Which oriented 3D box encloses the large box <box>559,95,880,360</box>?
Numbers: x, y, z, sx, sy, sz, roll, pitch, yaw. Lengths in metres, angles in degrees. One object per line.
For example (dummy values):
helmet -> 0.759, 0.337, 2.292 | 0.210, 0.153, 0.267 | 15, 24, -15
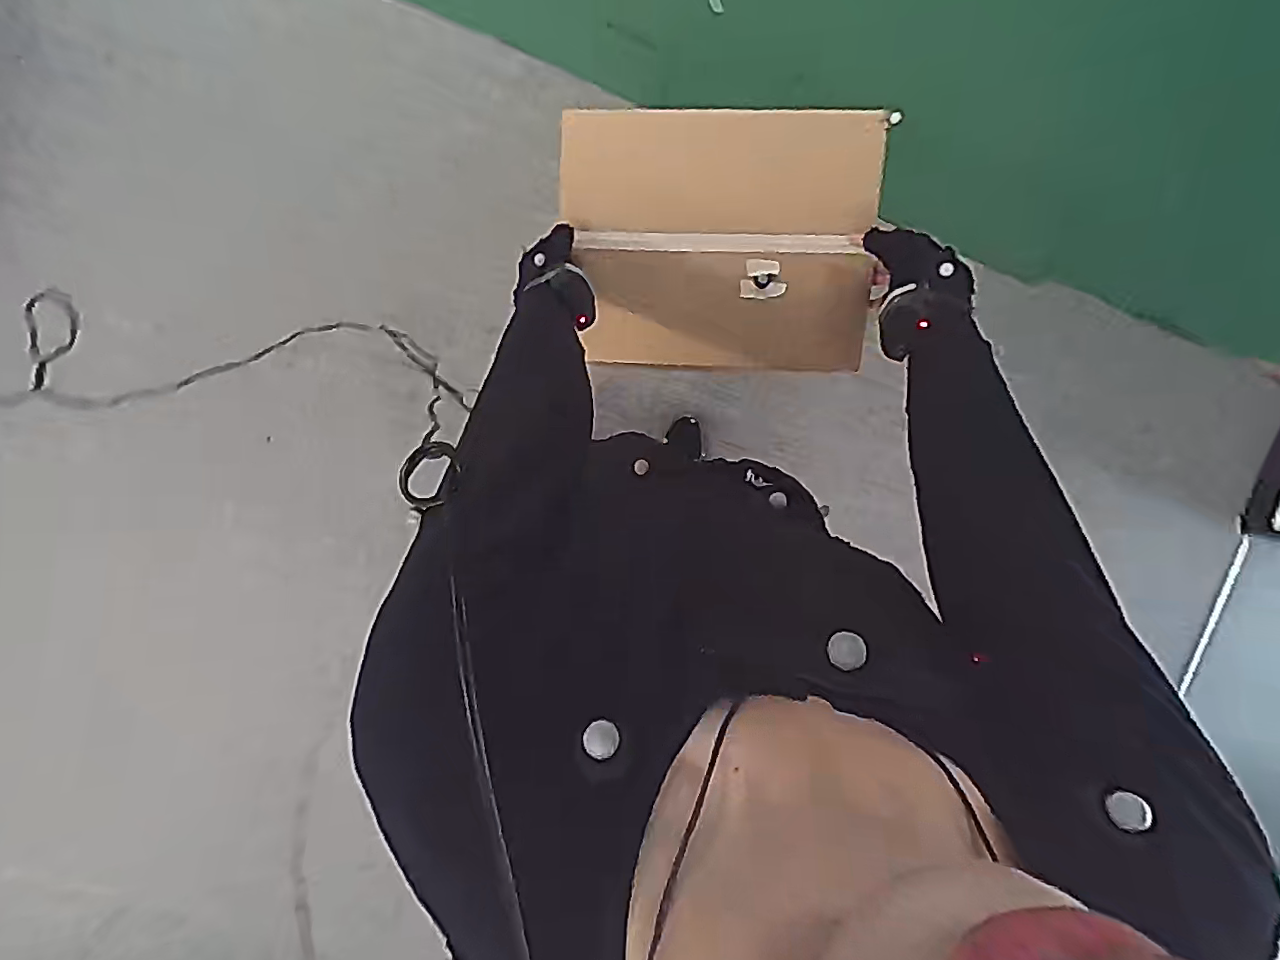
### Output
large box -> 0.101, -0.351, 0.842 | 0.408, 0.320, 0.320 | 2, 102, 3
